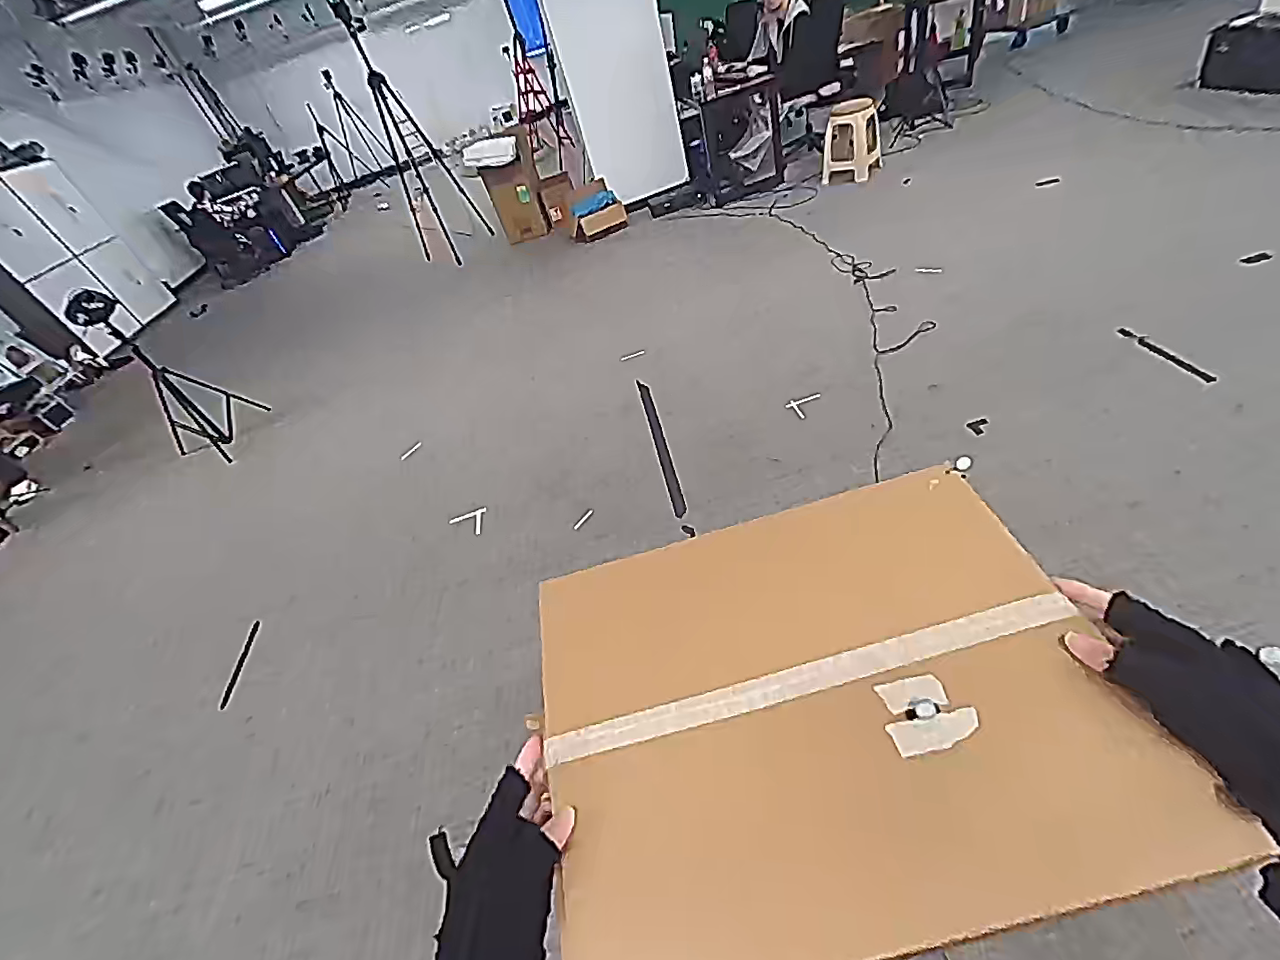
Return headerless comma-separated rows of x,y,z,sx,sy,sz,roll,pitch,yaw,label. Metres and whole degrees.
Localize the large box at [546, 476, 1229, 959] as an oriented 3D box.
0.157,0.256,0.526,0.408,0.320,0.320,-17,47,2,large box
